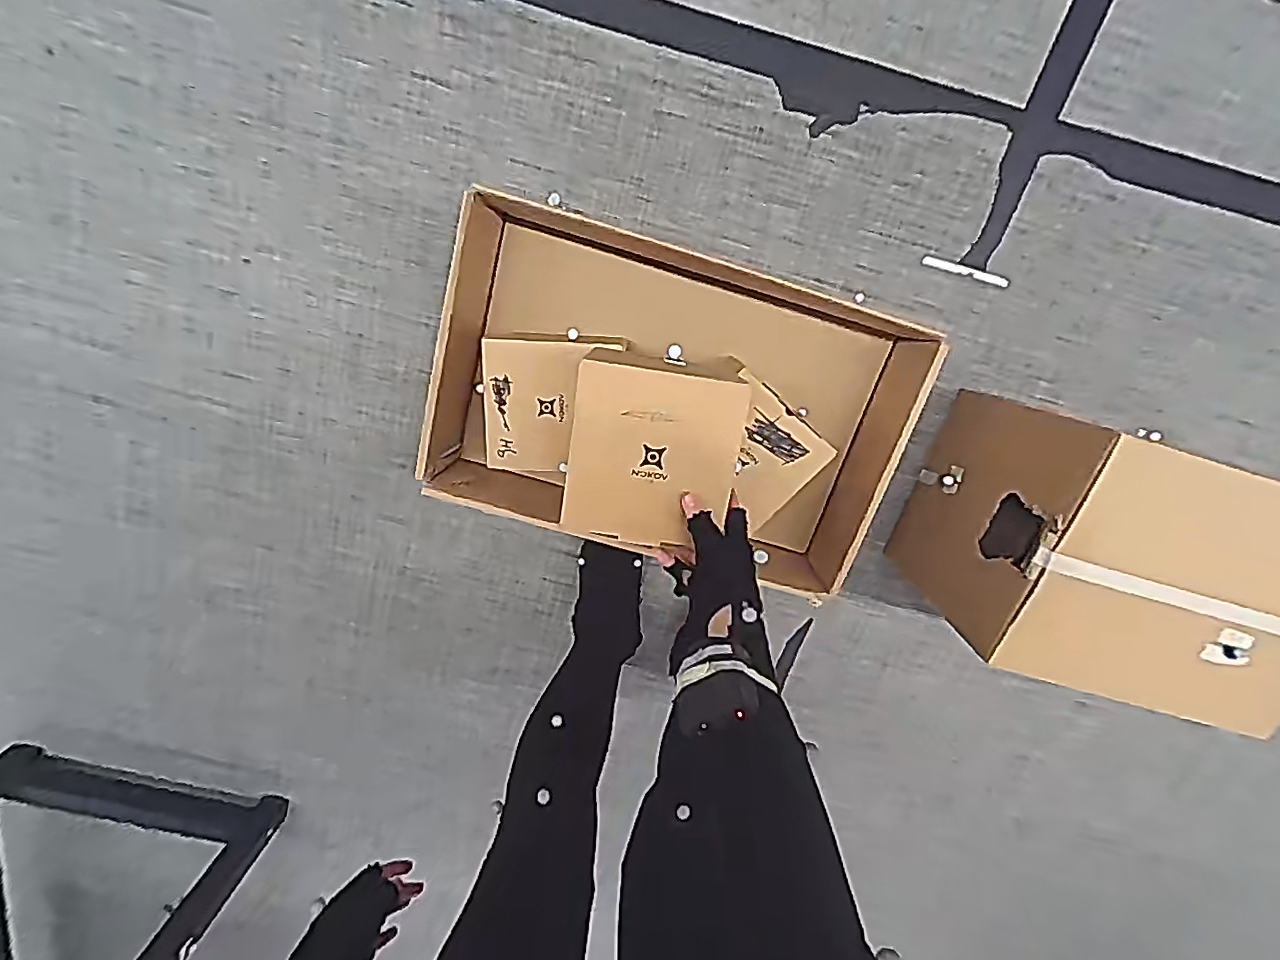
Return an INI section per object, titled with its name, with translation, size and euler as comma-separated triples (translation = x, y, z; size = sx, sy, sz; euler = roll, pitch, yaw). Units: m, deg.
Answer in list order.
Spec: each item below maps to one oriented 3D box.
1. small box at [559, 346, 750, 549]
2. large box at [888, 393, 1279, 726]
[small box]
translation = 0.011, -0.046, 0.598
size = 0.168, 0.176, 0.179
euler = 8, 106, -3
[large box]
translation = 0.658, 0.087, 0.781
size = 0.408, 0.320, 0.320
euler = 15, 108, -5
